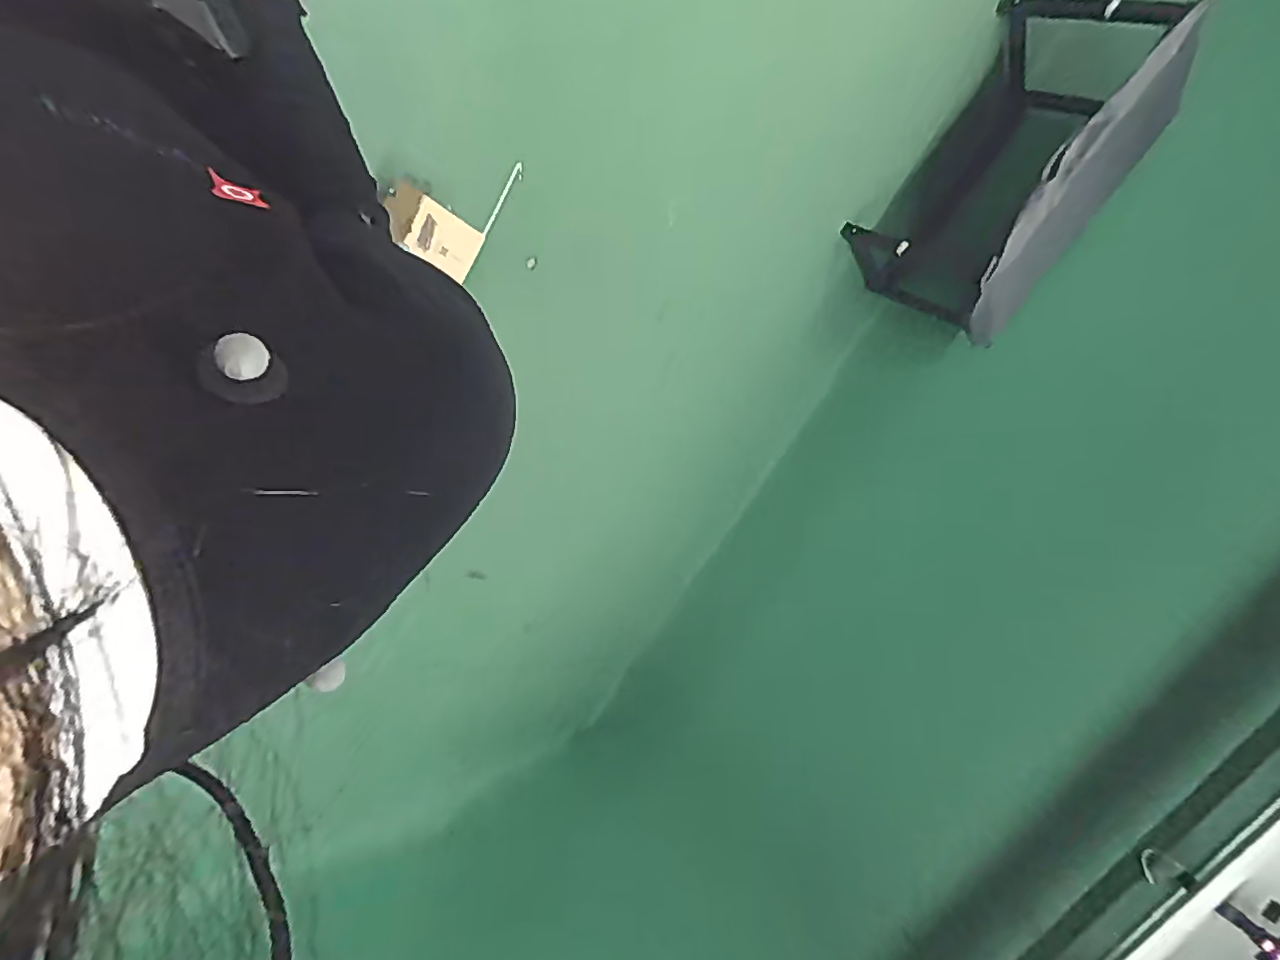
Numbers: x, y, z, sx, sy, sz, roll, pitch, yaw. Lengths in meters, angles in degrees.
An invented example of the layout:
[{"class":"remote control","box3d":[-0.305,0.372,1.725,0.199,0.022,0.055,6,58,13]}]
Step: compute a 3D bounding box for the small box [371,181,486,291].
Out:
[{"class":"small box","box3d":[-0.520,-0.598,1.319,0.179,0.176,0.168,16,110,-55]}]
